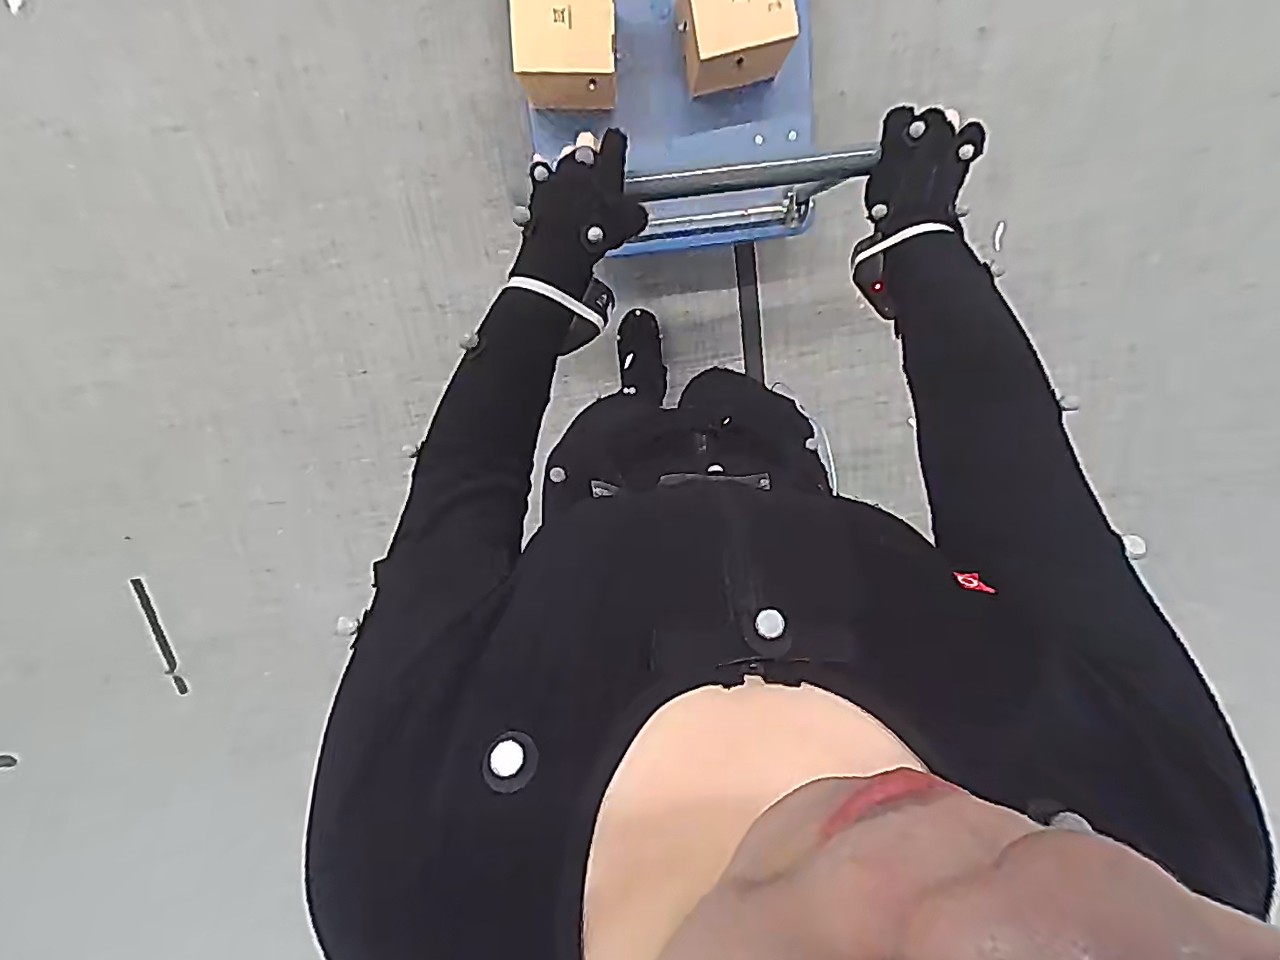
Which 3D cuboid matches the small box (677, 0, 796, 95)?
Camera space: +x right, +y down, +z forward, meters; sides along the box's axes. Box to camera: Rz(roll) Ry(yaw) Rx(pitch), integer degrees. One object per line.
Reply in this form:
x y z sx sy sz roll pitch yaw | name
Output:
0.165 -0.832 0.976 0.179 0.176 0.168 -12 107 3 | small box

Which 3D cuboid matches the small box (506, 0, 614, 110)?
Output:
-0.137 -0.796 0.984 0.179 0.176 0.168 -1 107 -2 | small box
